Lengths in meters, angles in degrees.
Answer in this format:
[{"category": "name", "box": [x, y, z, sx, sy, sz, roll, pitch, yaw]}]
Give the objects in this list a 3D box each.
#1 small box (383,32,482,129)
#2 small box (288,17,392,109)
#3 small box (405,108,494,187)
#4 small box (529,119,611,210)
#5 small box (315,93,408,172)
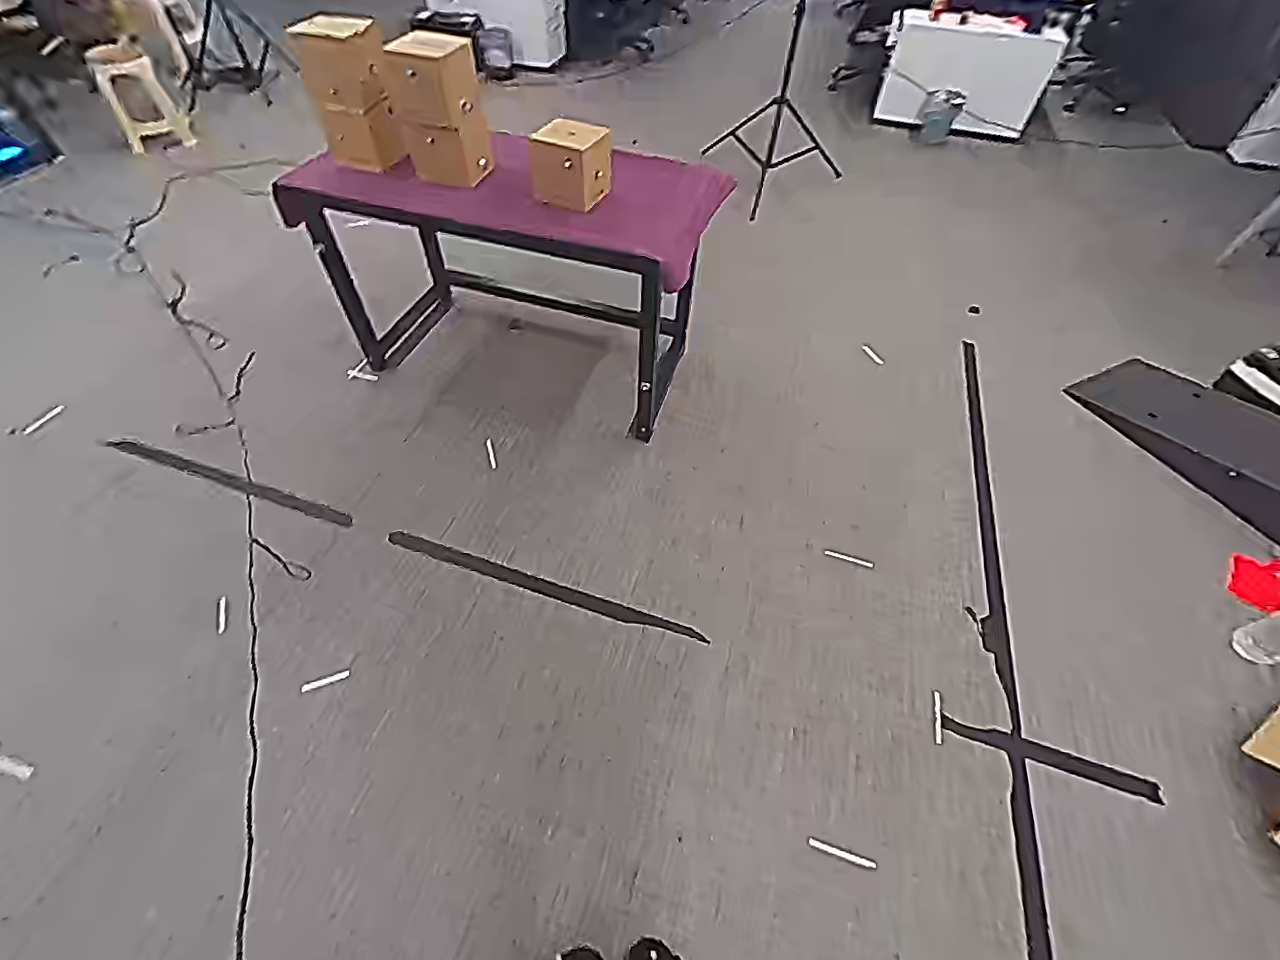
[{"category": "small box", "box": [-0.559, -1.092, 1.482, 0.179, 0.176, 0.168, 16, 54, 8]}, {"category": "small box", "box": [-0.840, -1.182, 1.538, 0.179, 0.176, 0.168, 11, 52, 5]}, {"category": "small box", "box": [-0.561, -1.002, 1.617, 0.179, 0.176, 0.168, 14, 53, 7]}, {"category": "small box", "box": [-0.195, -0.905, 1.557, 0.179, 0.176, 0.168, 21, 53, 14]}, {"category": "small box", "box": [-0.843, -1.074, 1.662, 0.168, 0.176, 0.179, 12, 52, 7]}]
